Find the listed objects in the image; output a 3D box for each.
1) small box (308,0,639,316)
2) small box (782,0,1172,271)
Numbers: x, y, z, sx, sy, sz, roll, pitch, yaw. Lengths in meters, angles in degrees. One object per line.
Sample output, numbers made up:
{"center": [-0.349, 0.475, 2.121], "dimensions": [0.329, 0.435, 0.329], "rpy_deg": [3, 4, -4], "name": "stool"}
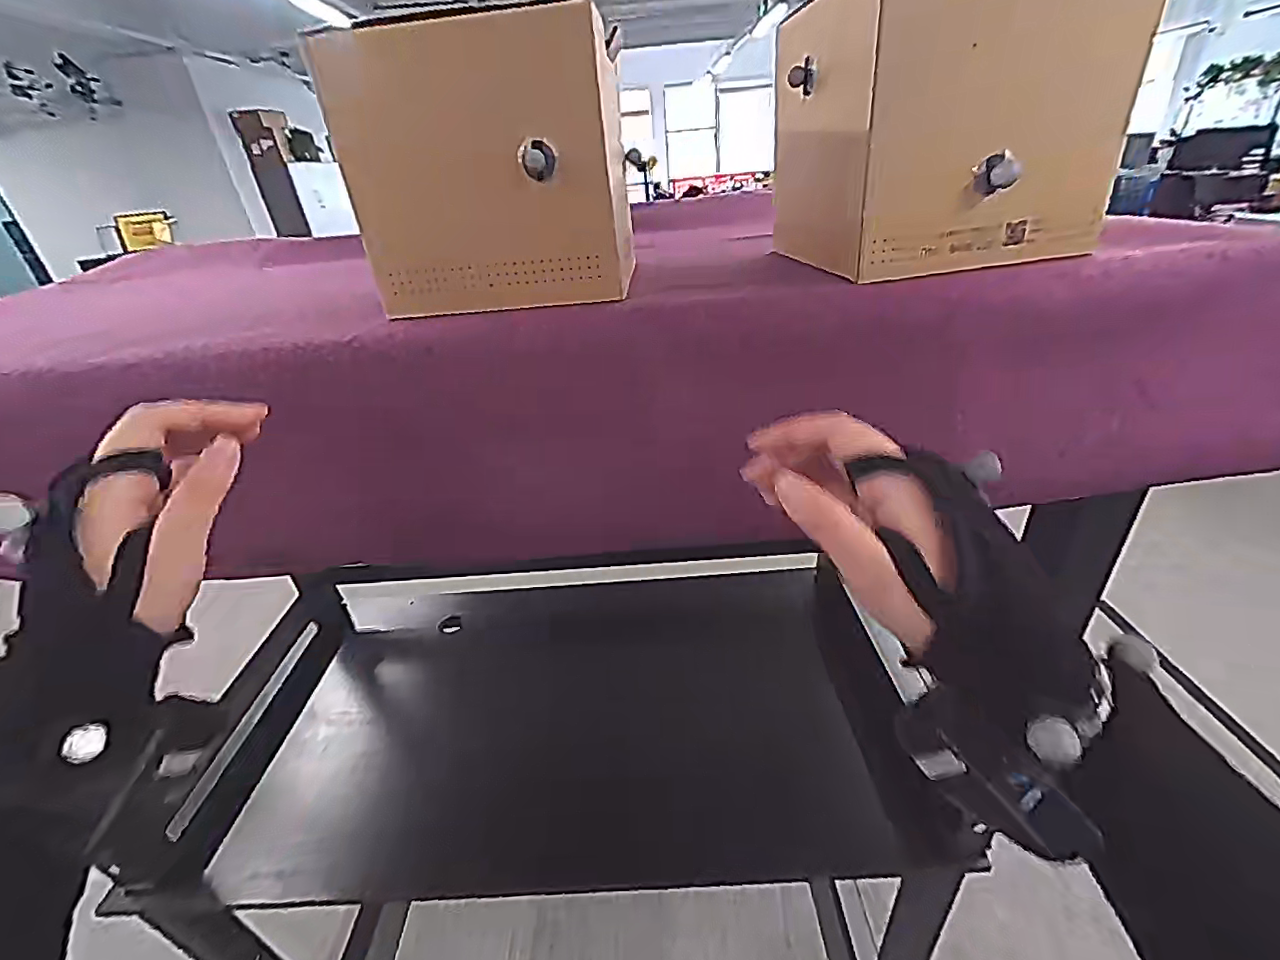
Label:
{"center": [-0.096, -0.231, 0.412], "dimensions": [0.179, 0.176, 0.168], "rpy_deg": [-3, 29, 5], "name": "small box"}
{"center": [0.207, -0.253, 0.389], "dimensions": [0.168, 0.176, 0.179], "rpy_deg": [-8, 29, -3], "name": "small box"}
